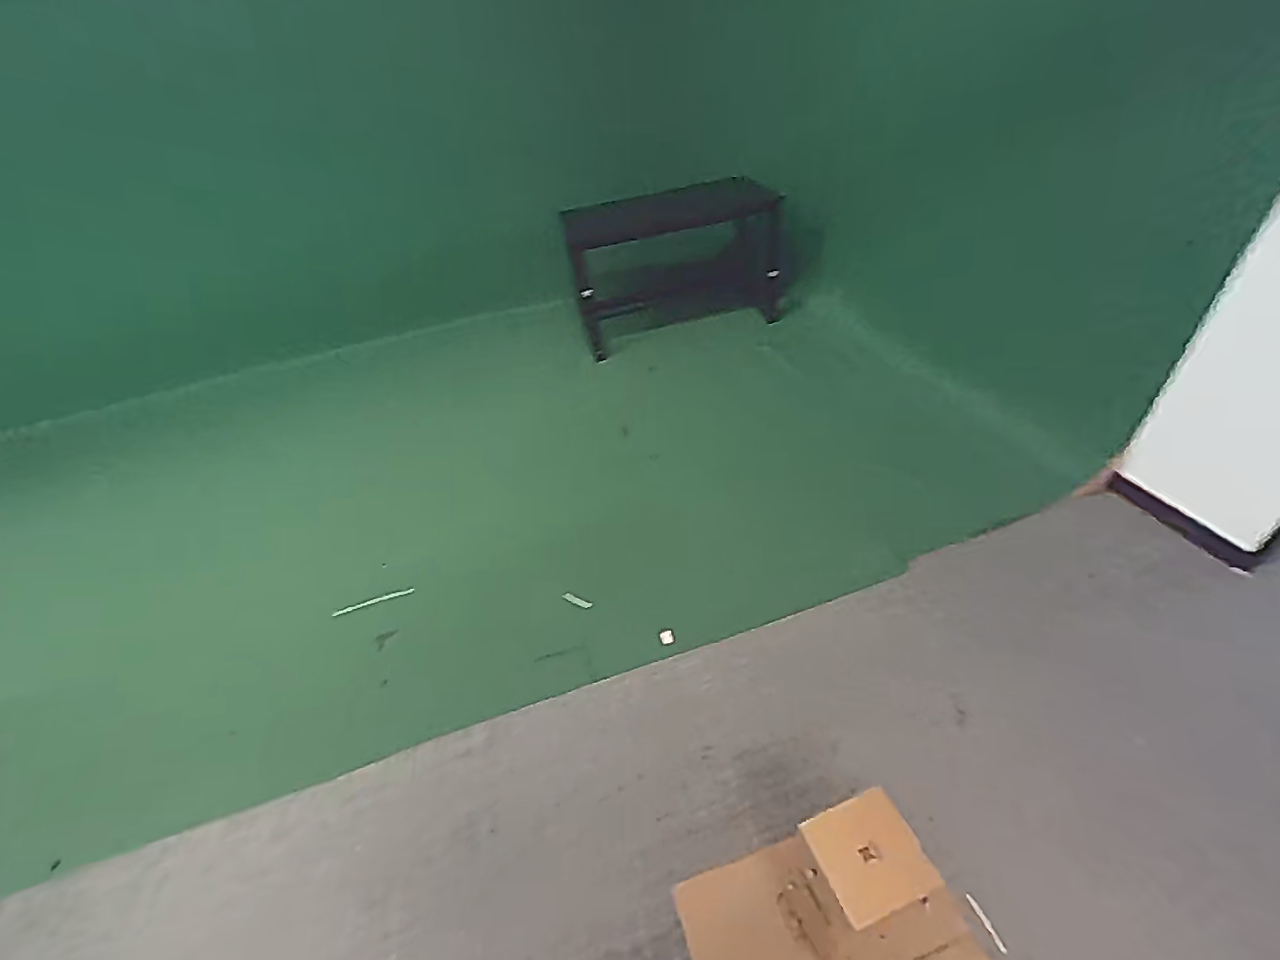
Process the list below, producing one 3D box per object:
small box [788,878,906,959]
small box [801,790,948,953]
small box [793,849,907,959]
[{"bbox_3d":[0.442,0.942,1.182,0.179,0.176,0.168,-22,43,-13],"label":"small box"},{"bbox_3d":[0.404,0.701,0.966,0.179,0.176,0.168,-18,41,-11],"label":"small box"},{"bbox_3d":[0.421,0.820,1.076,0.179,0.176,0.168,-18,41,-11],"label":"small box"}]
